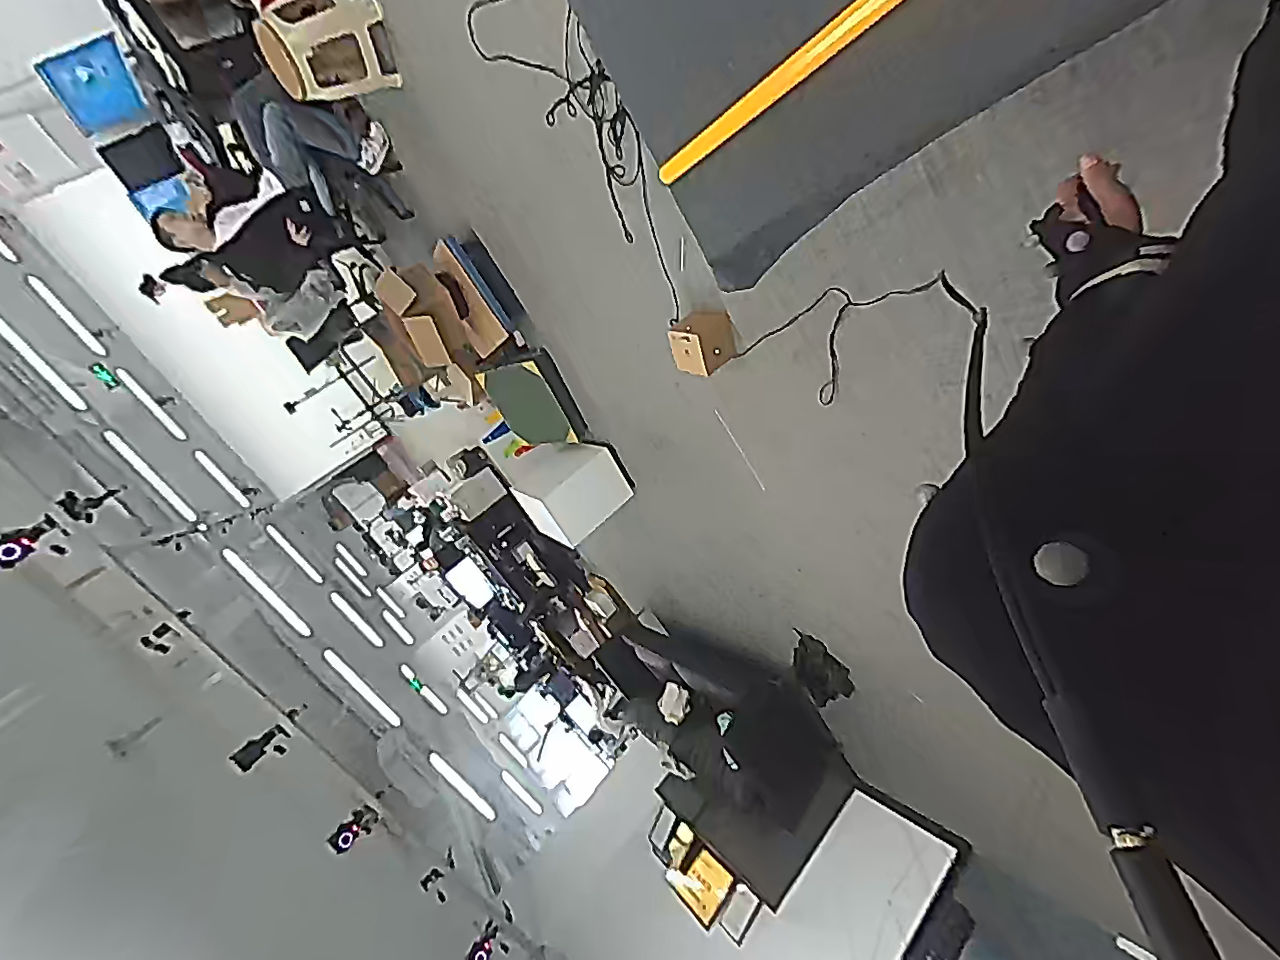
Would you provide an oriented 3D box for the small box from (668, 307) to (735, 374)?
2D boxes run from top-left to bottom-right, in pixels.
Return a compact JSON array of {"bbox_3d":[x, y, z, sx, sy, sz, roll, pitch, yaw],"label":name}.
[{"bbox_3d":[0.239,-0.530,2.044,0.168,0.176,0.179,26,148,44],"label":"small box"}]
